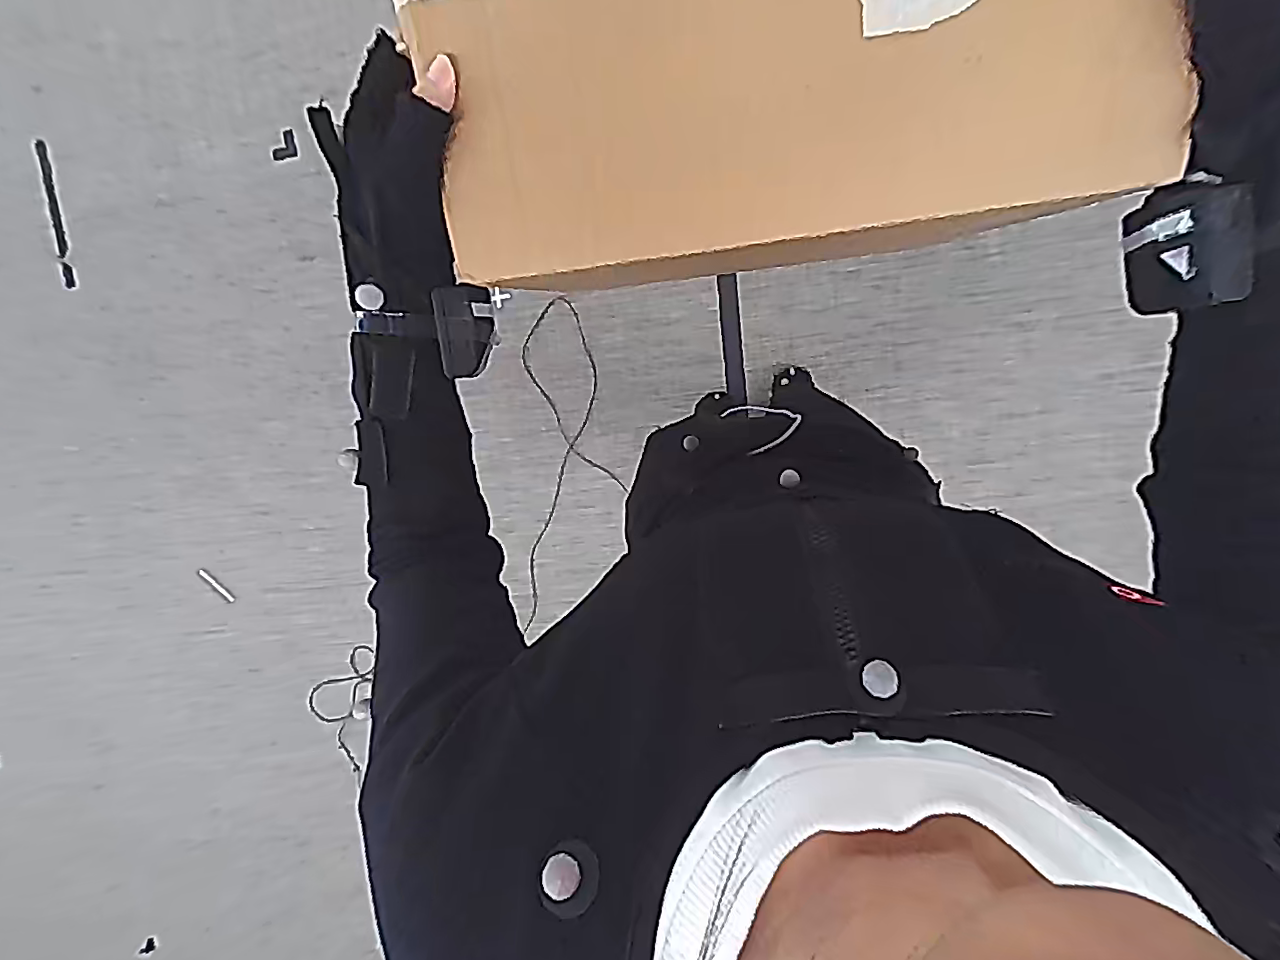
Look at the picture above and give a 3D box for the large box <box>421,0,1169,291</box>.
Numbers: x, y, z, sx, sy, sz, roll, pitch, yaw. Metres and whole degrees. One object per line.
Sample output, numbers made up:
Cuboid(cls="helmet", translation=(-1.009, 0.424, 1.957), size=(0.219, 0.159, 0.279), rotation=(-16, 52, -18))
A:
Cuboid(cls="large box", translation=(0.080, -0.343, 0.425), size=(0.408, 0.320, 0.320), rotation=(-6, 108, 7))
